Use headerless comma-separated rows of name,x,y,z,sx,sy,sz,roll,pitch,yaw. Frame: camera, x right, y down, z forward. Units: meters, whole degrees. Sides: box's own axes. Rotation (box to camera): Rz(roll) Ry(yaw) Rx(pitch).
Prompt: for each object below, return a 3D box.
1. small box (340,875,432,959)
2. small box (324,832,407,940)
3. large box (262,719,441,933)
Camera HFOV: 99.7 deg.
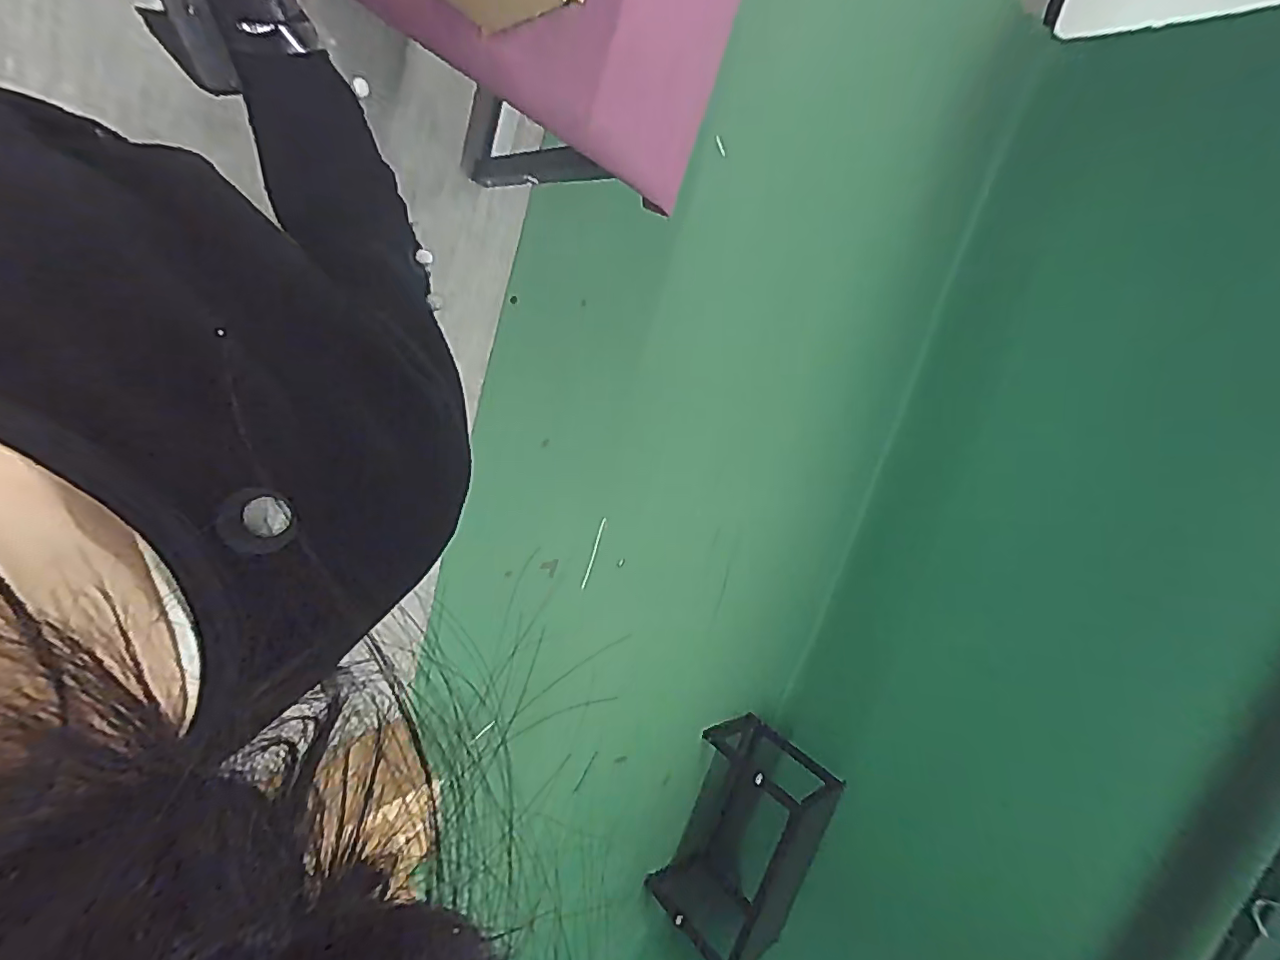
small box,-0.639,1.162,1.360,0.179,0.176,0.168,-13,117,-41
small box,-0.745,1.106,1.472,0.168,0.176,0.179,-11,117,-41
large box,-0.879,1.032,1.667,0.408,0.320,0.320,-13,119,-42
